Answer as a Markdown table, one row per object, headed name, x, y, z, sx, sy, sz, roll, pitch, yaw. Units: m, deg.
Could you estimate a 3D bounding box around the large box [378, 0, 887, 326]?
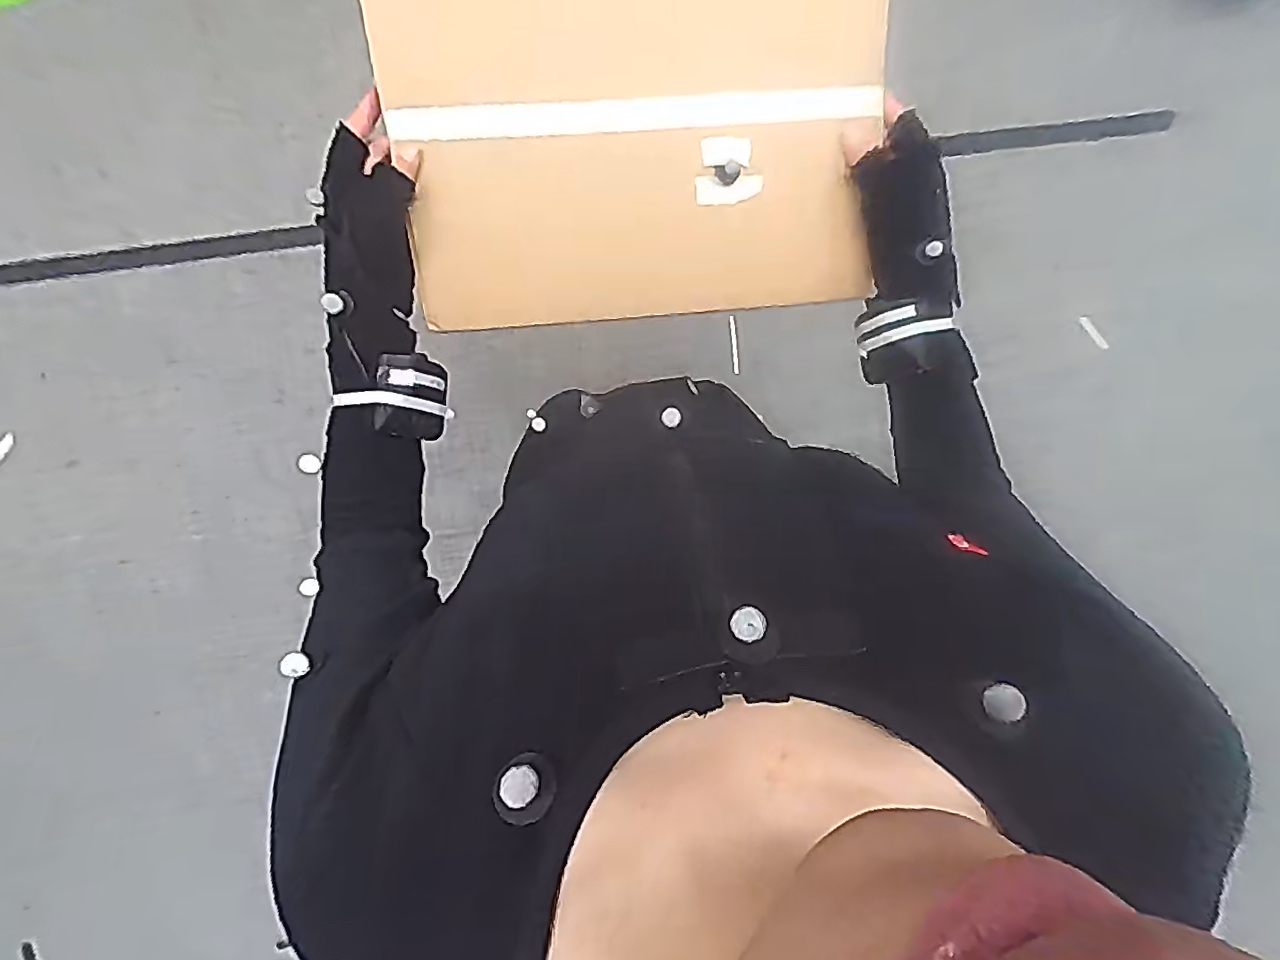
| name | x | y | z | sx | sy | sz | roll | pitch | yaw |
| --- | --- | --- | --- | --- | --- | --- | --- | --- | --- |
| large box | -0.012 | -0.350 | 0.582 | 0.408 | 0.320 | 0.320 | -6 | 110 | -6 |
